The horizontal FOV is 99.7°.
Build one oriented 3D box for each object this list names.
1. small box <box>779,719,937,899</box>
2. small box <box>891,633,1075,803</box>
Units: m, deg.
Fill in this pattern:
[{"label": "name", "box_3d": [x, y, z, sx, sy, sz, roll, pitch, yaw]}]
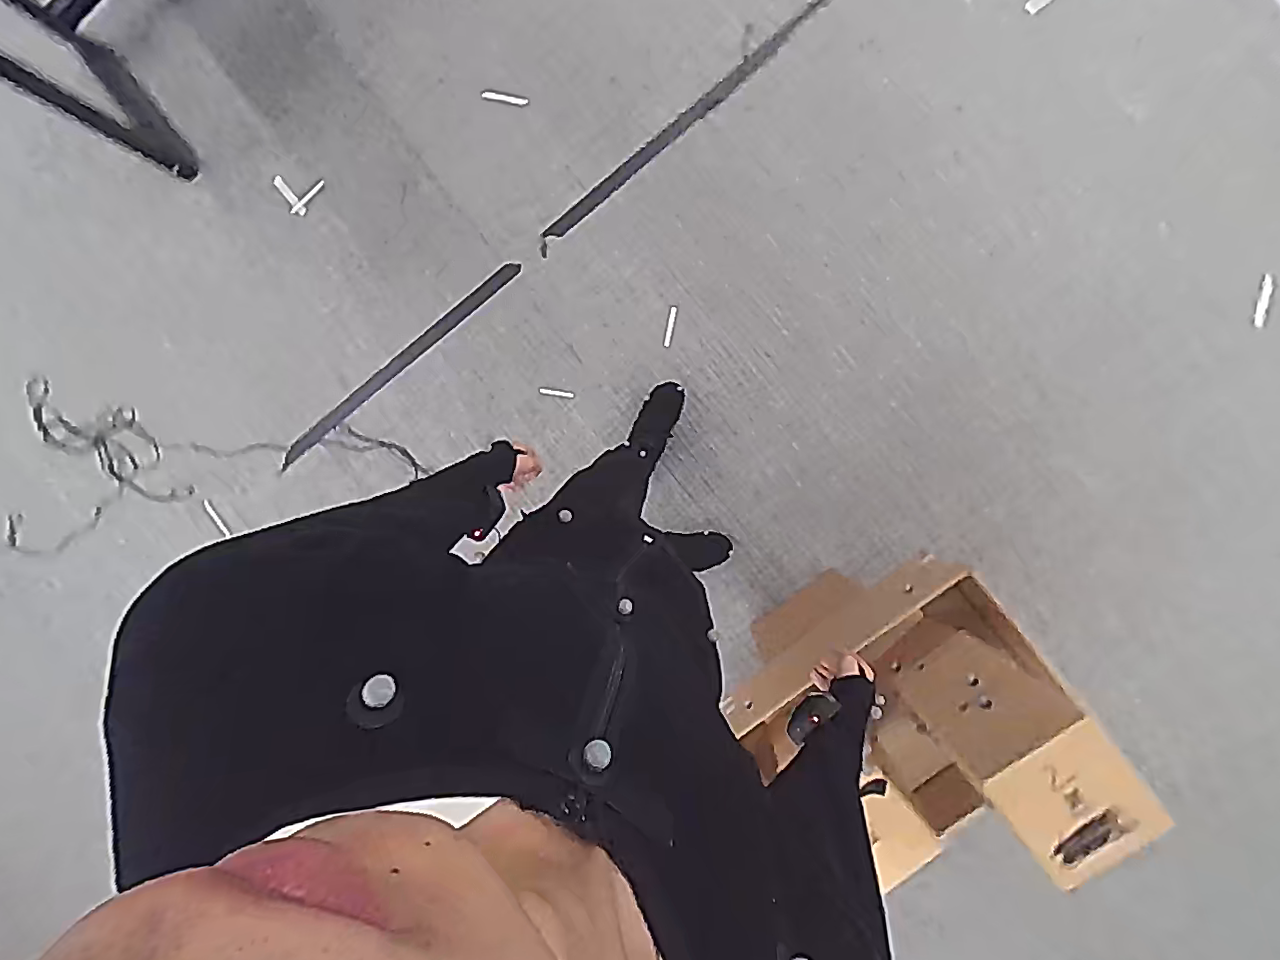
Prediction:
[{"label": "small box", "box_3d": [0.373, 0.568, 0.959, 0.168, 0.176, 0.179, -41, 88, 5]}, {"label": "small box", "box_3d": [0.578, 0.398, 0.937, 0.168, 0.176, 0.179, -38, 90, 5]}]
